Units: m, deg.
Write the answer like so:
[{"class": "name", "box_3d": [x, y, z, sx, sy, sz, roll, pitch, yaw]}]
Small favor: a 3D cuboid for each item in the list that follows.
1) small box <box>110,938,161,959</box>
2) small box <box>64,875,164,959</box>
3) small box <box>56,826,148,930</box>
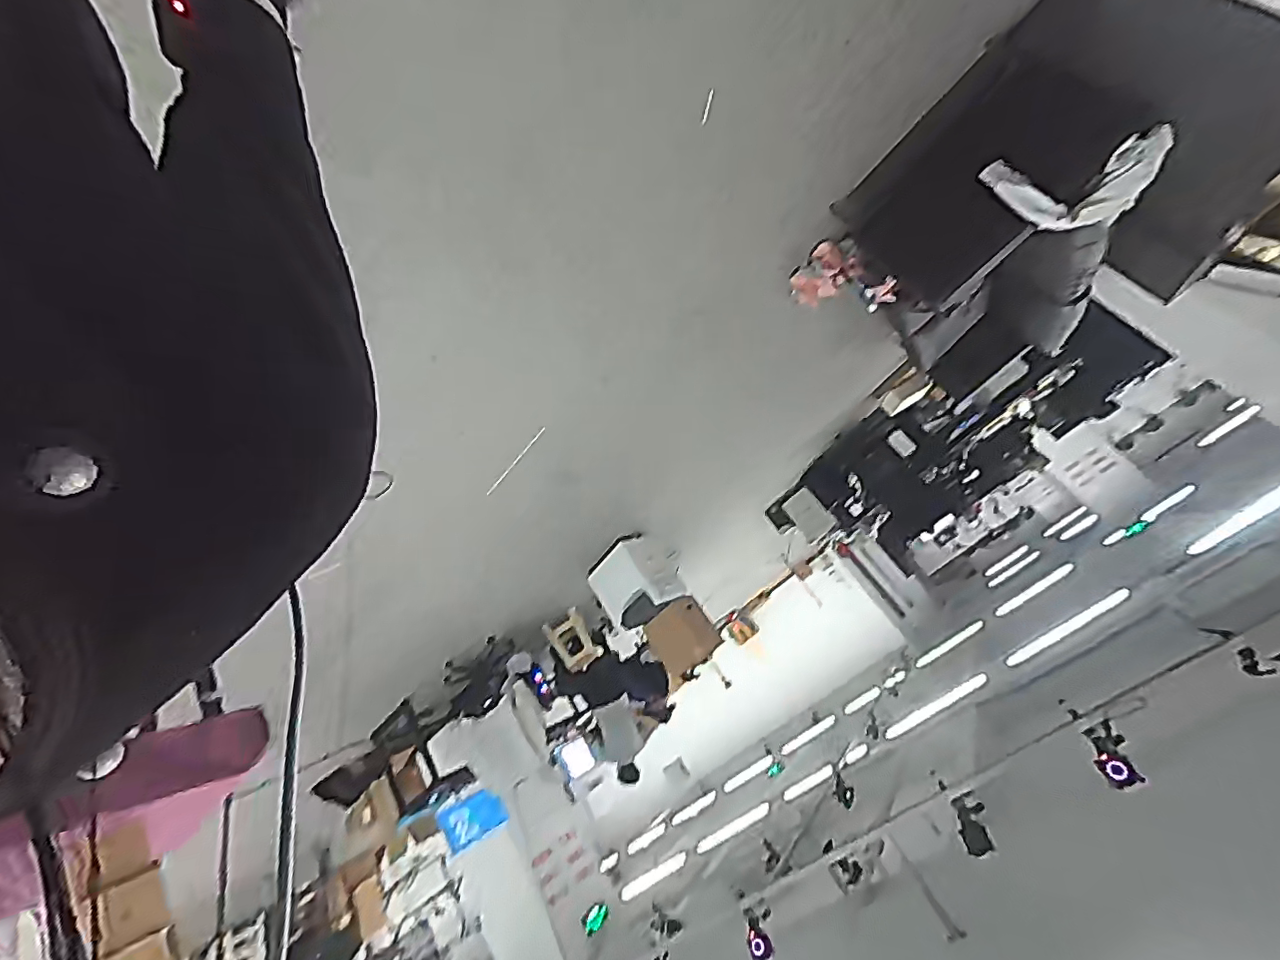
[{"class": "small box", "box_3d": [-1.392, 1.379, 1.443, 0.168, 0.176, 0.179, -3, 141, -50]}, {"class": "small box", "box_3d": [-1.481, 1.266, 1.519, 0.168, 0.176, 0.179, -48, 154, 26]}, {"class": "small box", "box_3d": [-1.587, 1.161, 1.592, 0.179, 0.176, 0.168, -47, 153, 26]}]
